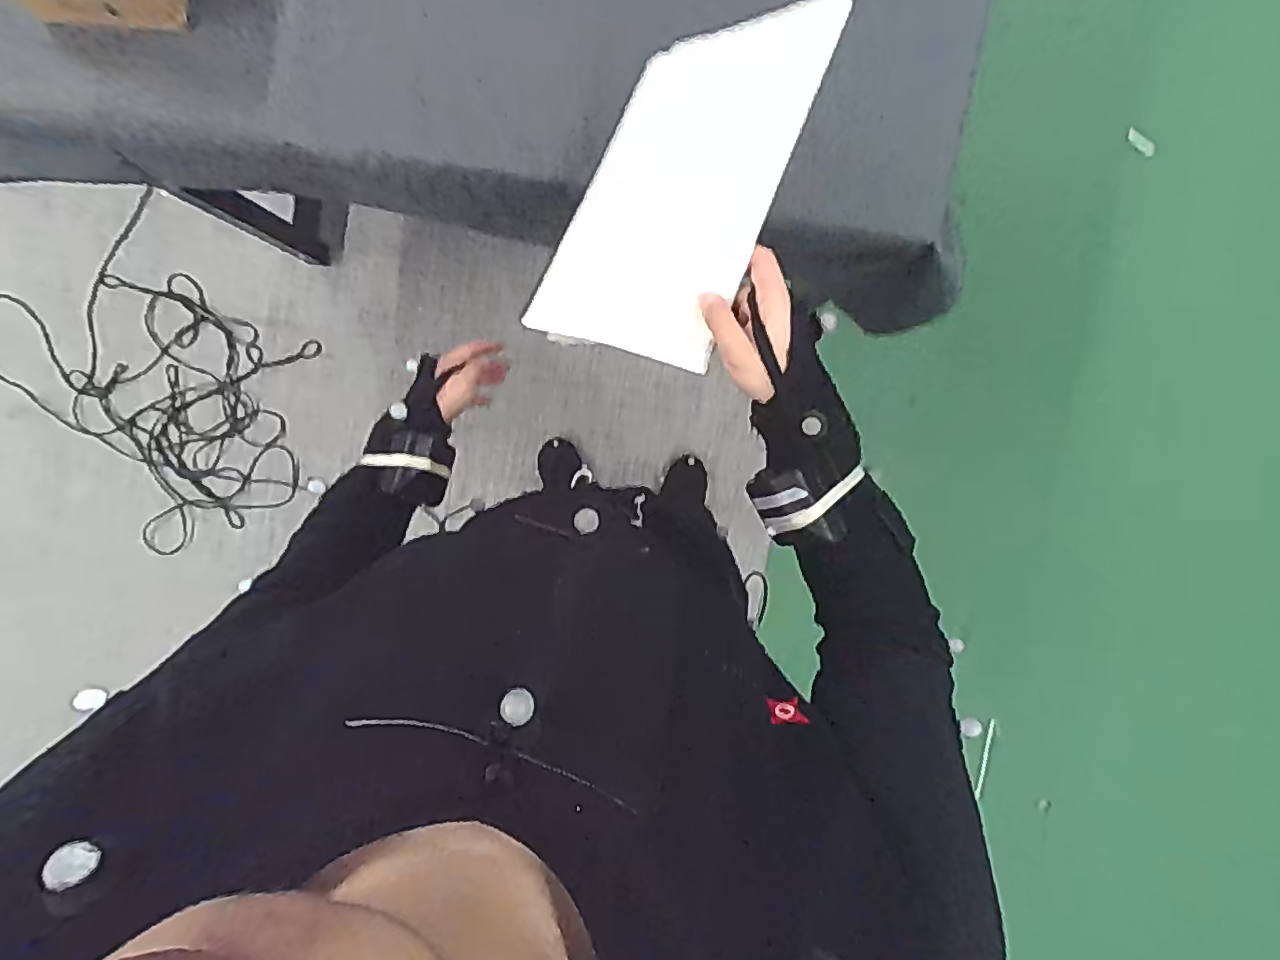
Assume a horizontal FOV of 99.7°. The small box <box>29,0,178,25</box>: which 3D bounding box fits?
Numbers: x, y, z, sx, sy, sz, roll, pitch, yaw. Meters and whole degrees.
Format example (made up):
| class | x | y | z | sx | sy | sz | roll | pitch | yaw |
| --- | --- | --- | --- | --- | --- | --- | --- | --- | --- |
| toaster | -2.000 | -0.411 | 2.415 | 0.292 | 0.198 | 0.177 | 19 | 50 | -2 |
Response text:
| class | x | y | z | sx | sy | sz | roll | pitch | yaw |
| --- | --- | --- | --- | --- | --- | --- | --- | --- | --- |
| small box | -0.578 | -0.583 | 0.511 | 0.168 | 0.176 | 0.179 | 4 | 93 | -1 |
